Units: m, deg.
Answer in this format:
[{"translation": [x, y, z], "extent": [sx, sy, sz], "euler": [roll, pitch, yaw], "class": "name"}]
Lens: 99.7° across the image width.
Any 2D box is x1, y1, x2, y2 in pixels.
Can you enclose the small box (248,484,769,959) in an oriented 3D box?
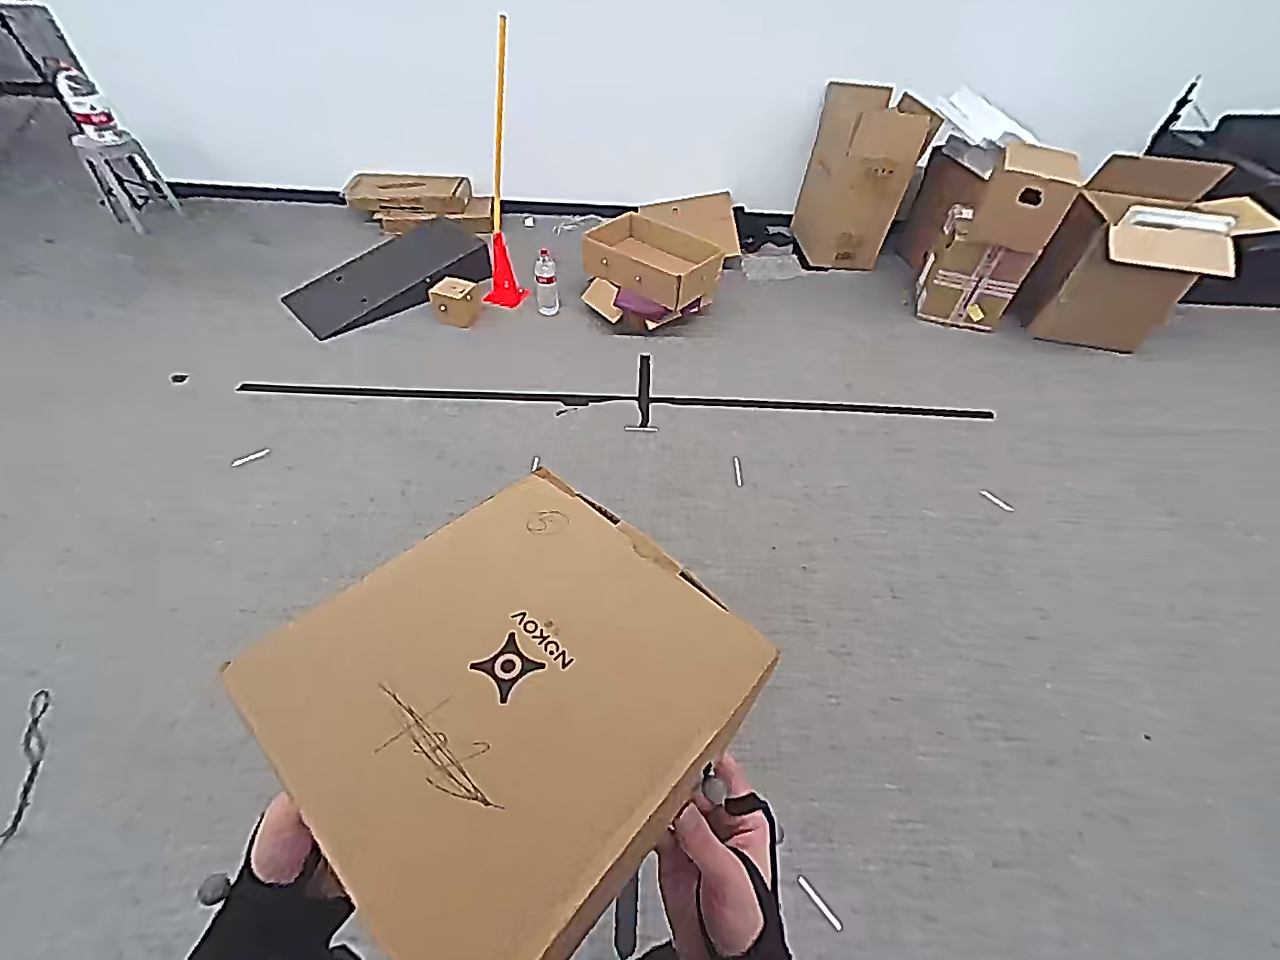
[{"translation": [-0.060, 0.141, 0.302], "extent": [0.168, 0.176, 0.179], "euler": [35, 53, 25], "class": "small box"}]
